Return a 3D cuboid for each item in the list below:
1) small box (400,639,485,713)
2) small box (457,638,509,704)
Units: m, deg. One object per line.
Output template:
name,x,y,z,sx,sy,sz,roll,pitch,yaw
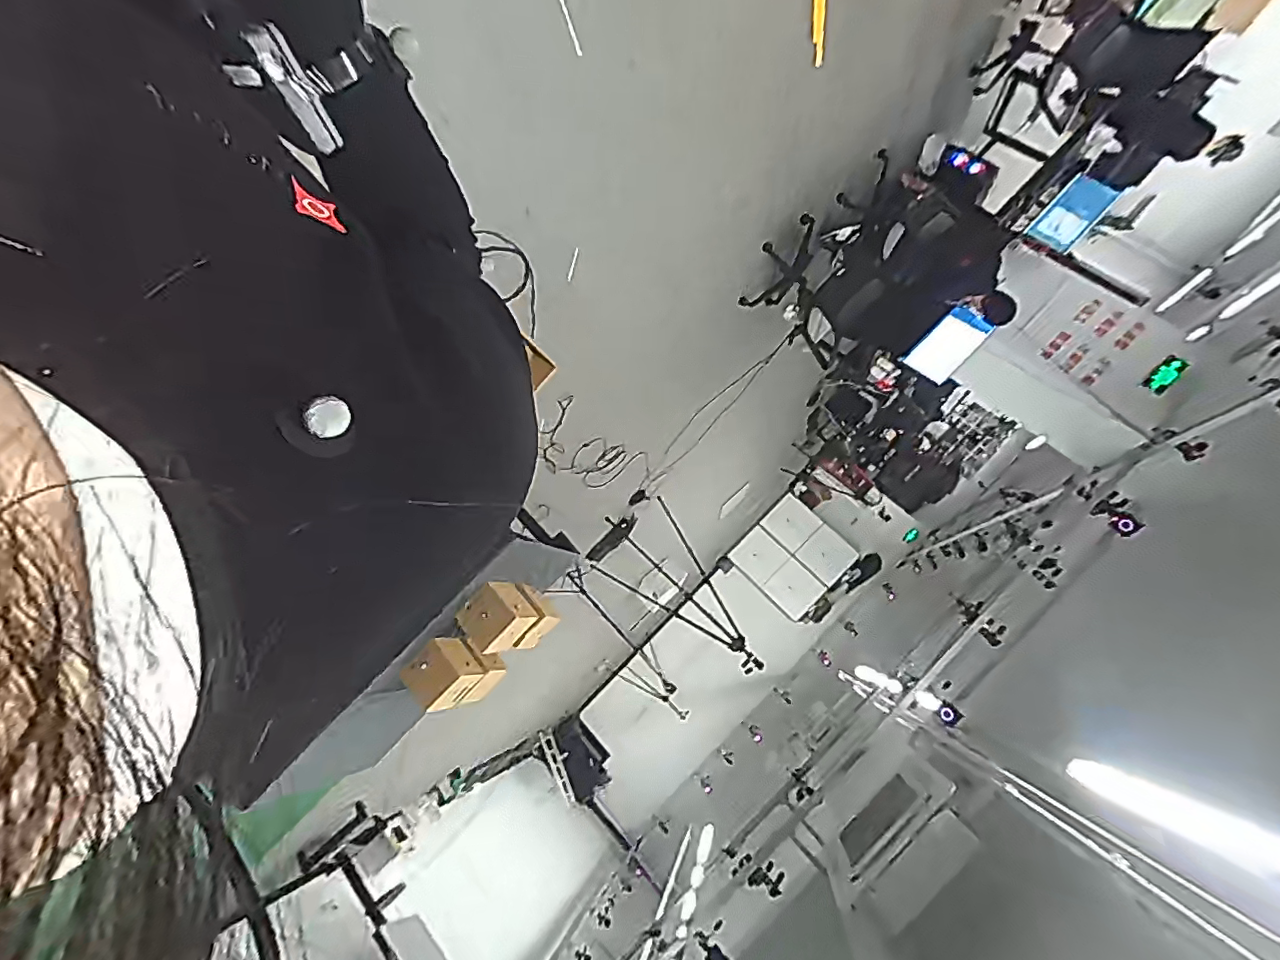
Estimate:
small box,-0.673,0.663,1.845,0.168,0.176,0.179,-45,160,-5
small box,-0.633,0.716,2.039,0.168,0.176,0.179,-45,160,-5
